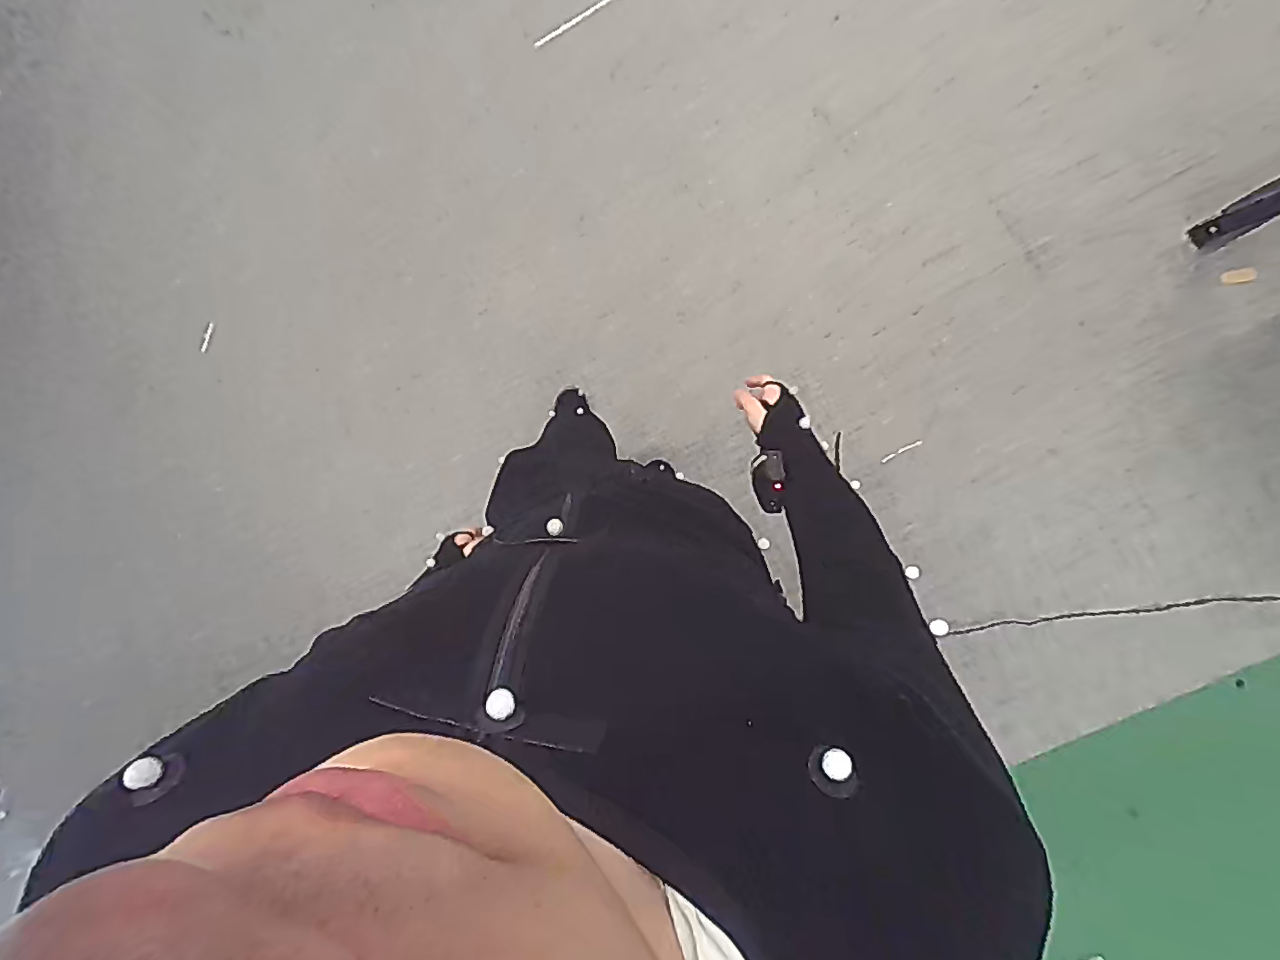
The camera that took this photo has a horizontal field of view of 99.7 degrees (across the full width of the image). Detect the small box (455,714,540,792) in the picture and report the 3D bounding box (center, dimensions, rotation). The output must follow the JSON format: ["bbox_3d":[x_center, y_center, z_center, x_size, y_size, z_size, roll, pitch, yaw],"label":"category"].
[{"bbox_3d":[-0.415,0.836,1.619,0.179,0.176,0.168,-25,93,5],"label":"small box"}]

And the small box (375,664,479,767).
[{"bbox_3d":[-0.558,0.615,1.440,0.168,0.176,0.179,-23,93,6],"label":"small box"}]

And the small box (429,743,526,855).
[{"bbox_3d":[-0.425,0.849,1.457,0.179,0.176,0.168,-27,94,6],"label":"small box"}]
